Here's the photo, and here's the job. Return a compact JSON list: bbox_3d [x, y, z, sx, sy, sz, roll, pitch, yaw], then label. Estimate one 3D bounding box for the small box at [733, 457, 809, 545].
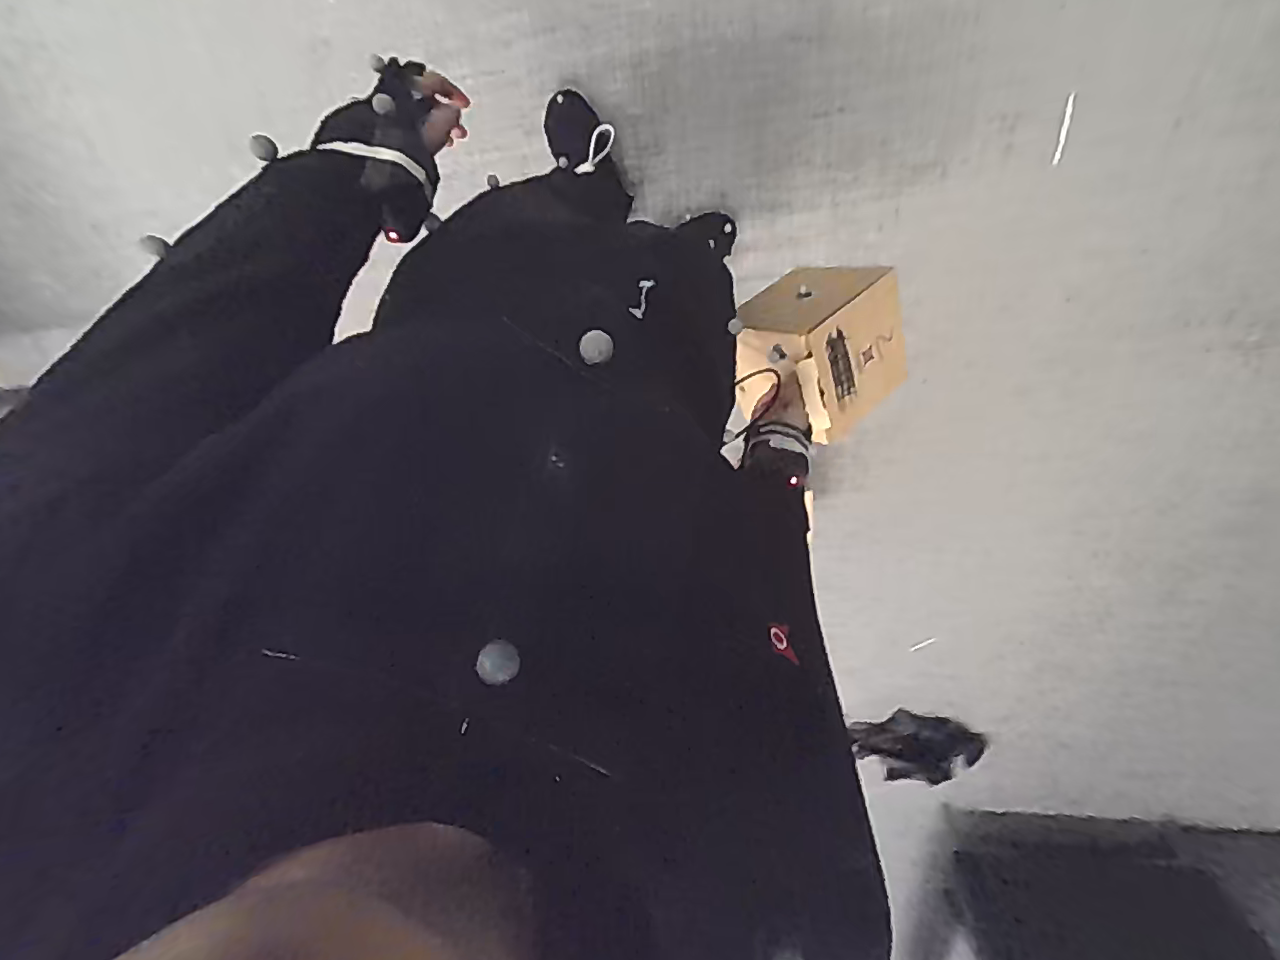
[{"bbox_3d":[0.337,0.051,1.413,0.179,0.176,0.168,-3,123,10],"label":"small box"}]
